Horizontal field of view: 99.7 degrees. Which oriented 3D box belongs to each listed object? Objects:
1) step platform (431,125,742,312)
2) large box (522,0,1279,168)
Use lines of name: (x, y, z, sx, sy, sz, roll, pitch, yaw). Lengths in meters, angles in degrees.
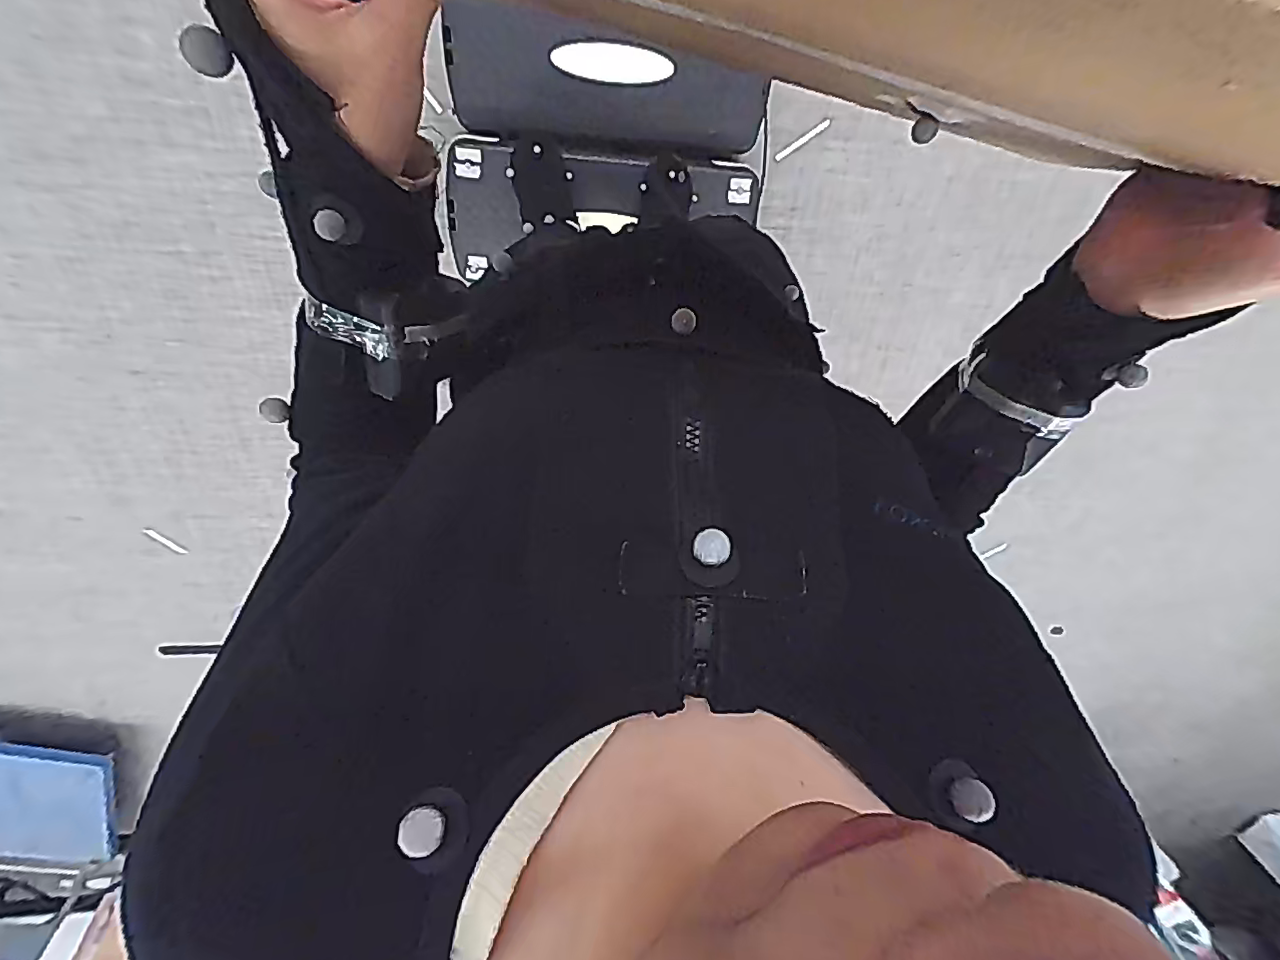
step platform: (-0.116, -0.587, 1.242, 0.684, 0.204, 0.286, 6, 122, -9)
large box: (0.105, -0.302, 0.133, 0.408, 0.320, 0.320, 10, 125, -6)
